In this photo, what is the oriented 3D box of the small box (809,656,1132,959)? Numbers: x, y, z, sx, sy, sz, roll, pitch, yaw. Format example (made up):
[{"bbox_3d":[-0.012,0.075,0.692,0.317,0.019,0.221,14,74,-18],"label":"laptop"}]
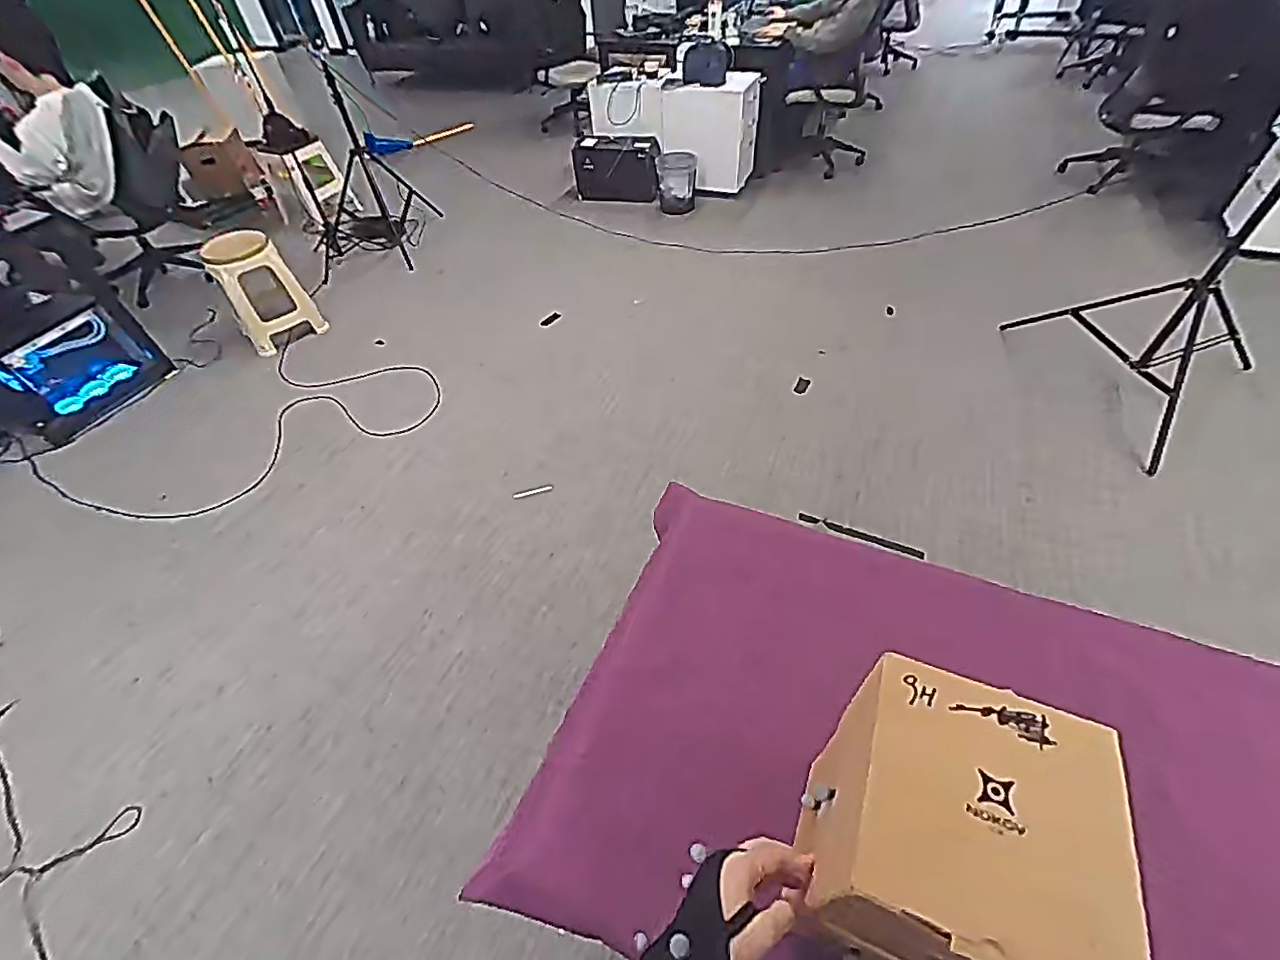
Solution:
[{"bbox_3d":[0.245,0.282,0.437,0.168,0.176,0.179,17,51,18],"label":"small box"}]

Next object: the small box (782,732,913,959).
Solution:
[{"bbox_3d":[0.253,0.396,0.556,0.168,0.176,0.179,18,51,18],"label":"small box"}]
